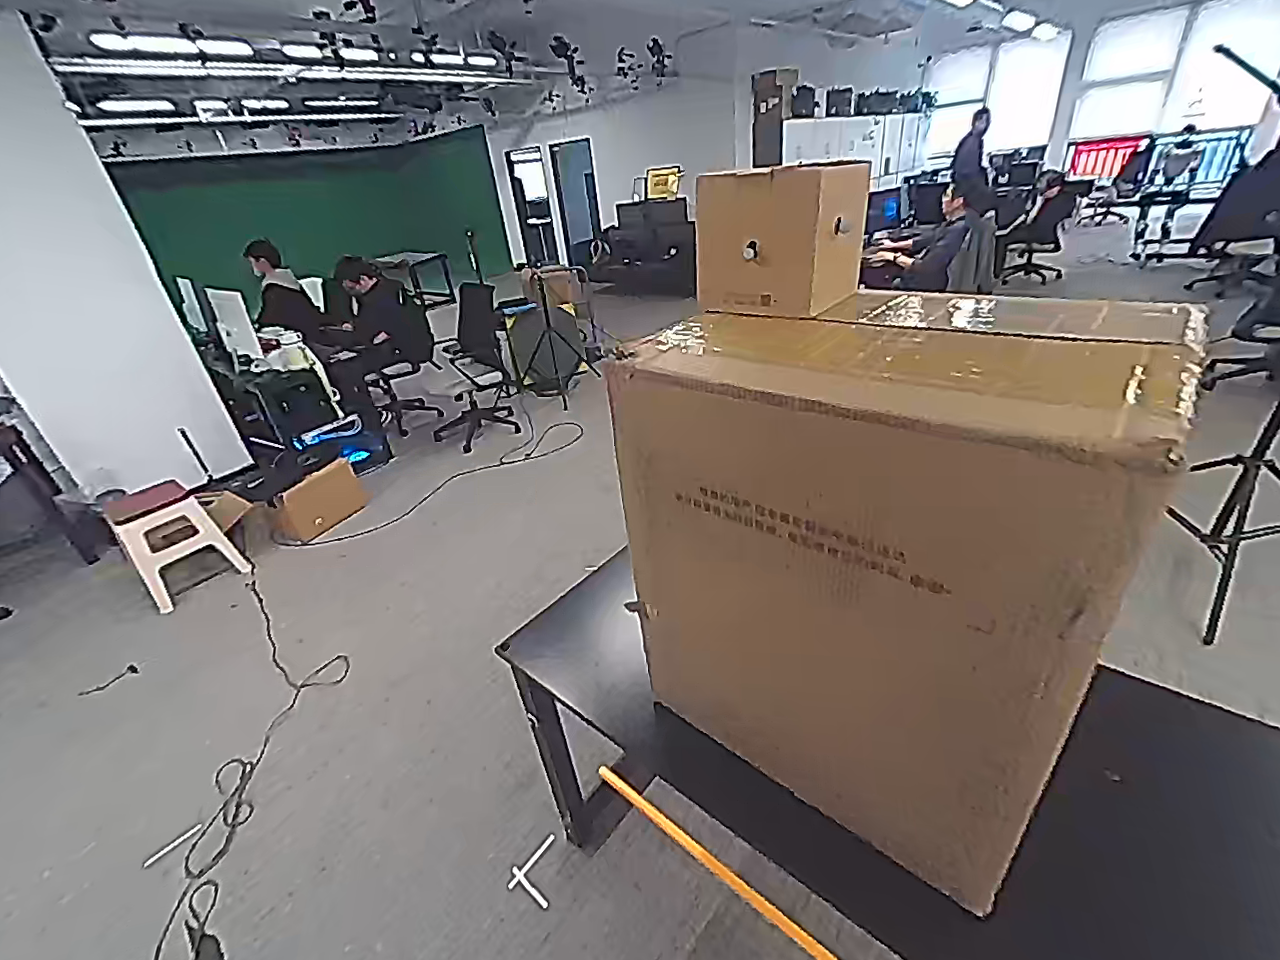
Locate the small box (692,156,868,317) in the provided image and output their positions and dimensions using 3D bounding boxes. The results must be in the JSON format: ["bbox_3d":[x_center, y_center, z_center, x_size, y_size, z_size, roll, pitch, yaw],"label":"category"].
[{"bbox_3d":[0.187,-0.322,0.719,0.168,0.176,0.179,17,36,34],"label":"small box"}]
